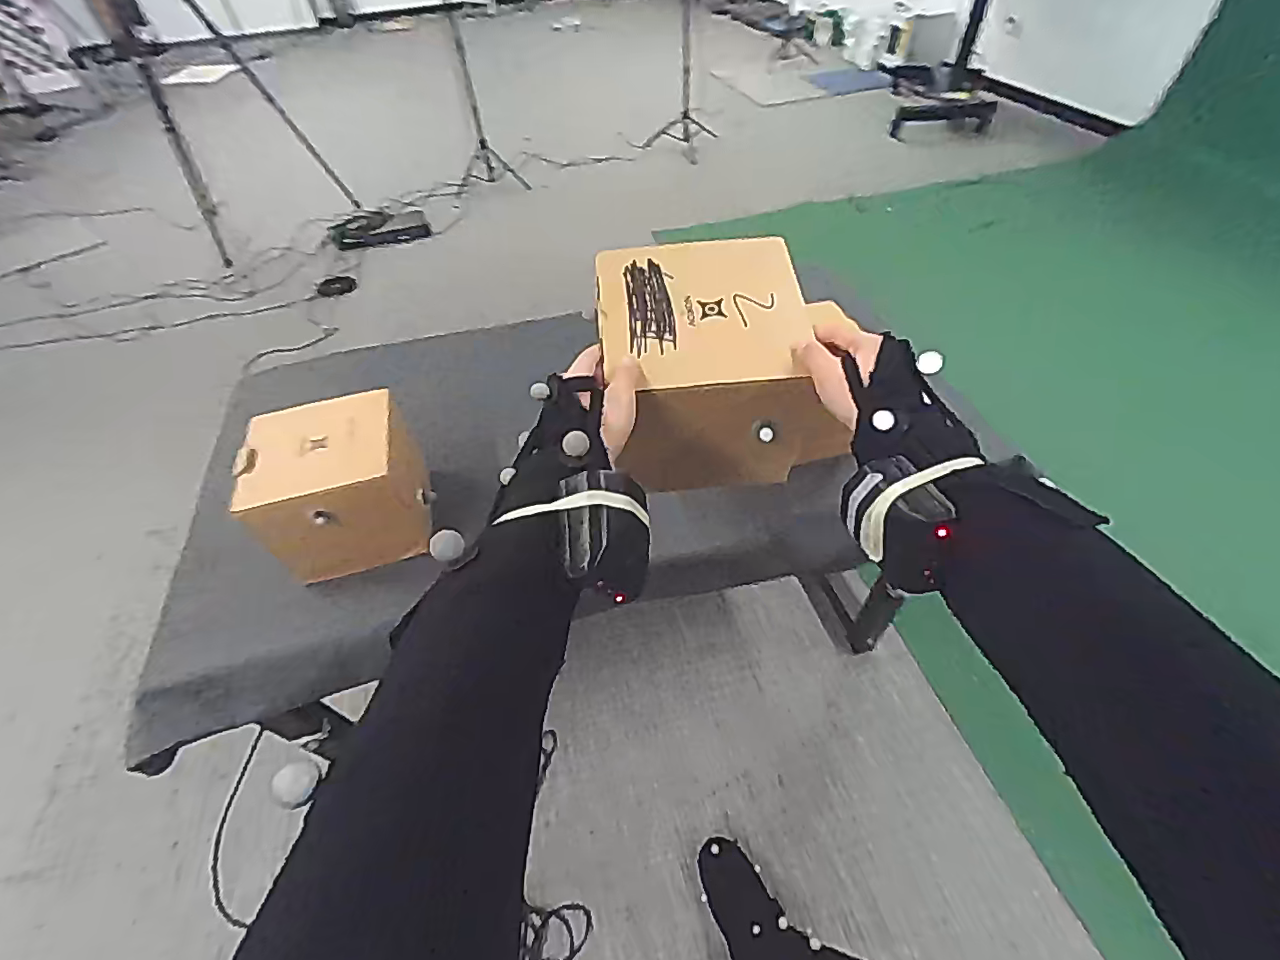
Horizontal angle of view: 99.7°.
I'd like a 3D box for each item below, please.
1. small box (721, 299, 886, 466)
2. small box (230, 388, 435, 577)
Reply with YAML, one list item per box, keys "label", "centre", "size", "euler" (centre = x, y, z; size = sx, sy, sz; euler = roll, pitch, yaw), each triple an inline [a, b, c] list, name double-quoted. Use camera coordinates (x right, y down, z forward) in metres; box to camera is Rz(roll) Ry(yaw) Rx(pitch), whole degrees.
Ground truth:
- label: "small box"
  centre: [0.227, -0.141, 0.806]
  size: [0.179, 0.176, 0.168]
  euler: [-12, 50, -6]
- label: "small box"
  centre: [-0.394, 0.007, 0.724]
  size: [0.179, 0.176, 0.168]
  euler: [-14, 51, -9]
